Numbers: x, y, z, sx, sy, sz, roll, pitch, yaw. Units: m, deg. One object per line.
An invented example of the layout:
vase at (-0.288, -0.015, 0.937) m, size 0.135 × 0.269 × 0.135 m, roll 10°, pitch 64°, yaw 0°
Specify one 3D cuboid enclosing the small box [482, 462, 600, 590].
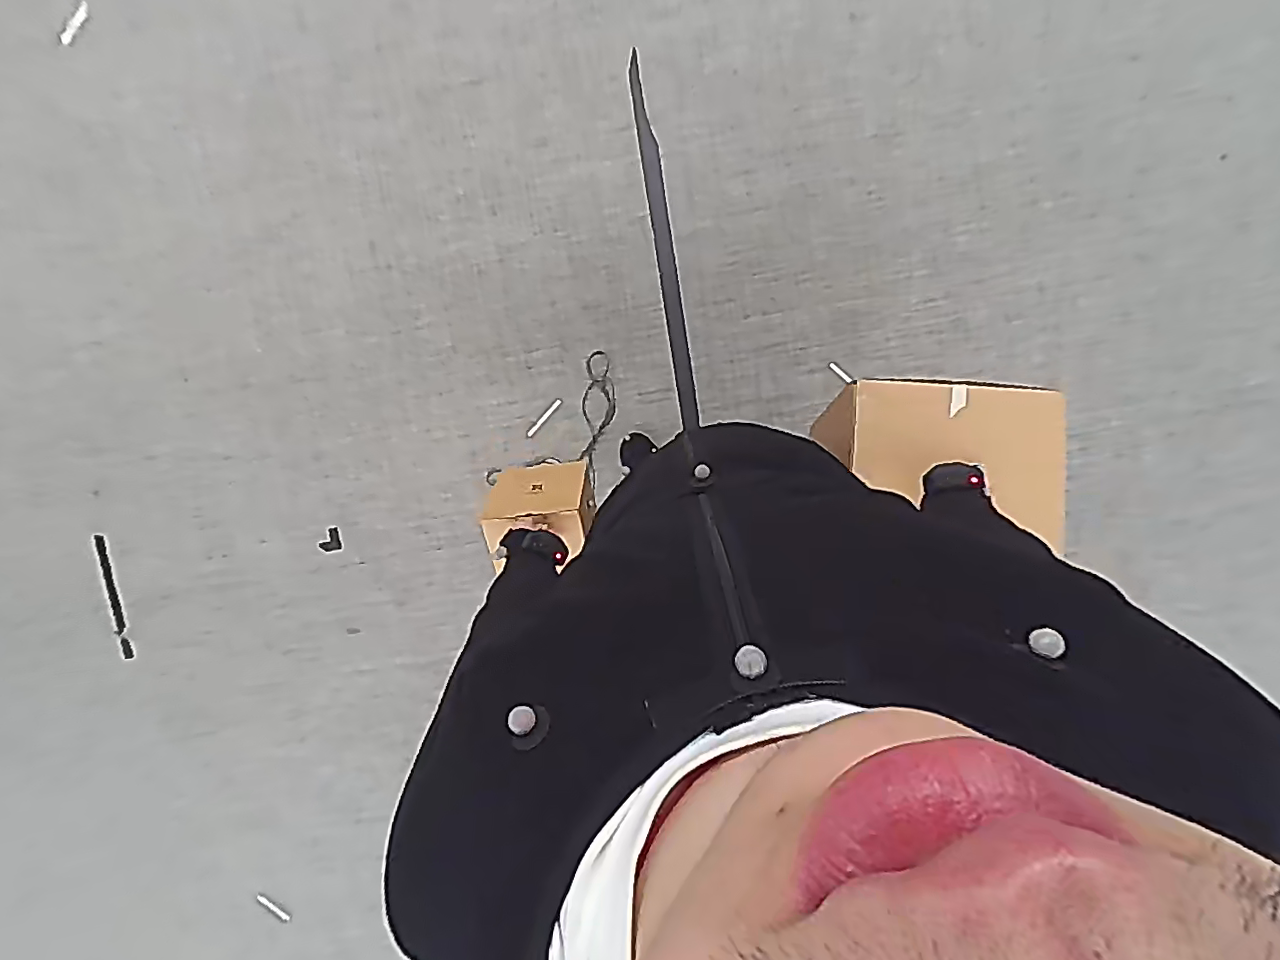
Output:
small box at (-0.170, 0.087, 0.993) m, size 0.168 × 0.179 × 0.176 m, roll -6°, pitch 120°, yaw 3°
